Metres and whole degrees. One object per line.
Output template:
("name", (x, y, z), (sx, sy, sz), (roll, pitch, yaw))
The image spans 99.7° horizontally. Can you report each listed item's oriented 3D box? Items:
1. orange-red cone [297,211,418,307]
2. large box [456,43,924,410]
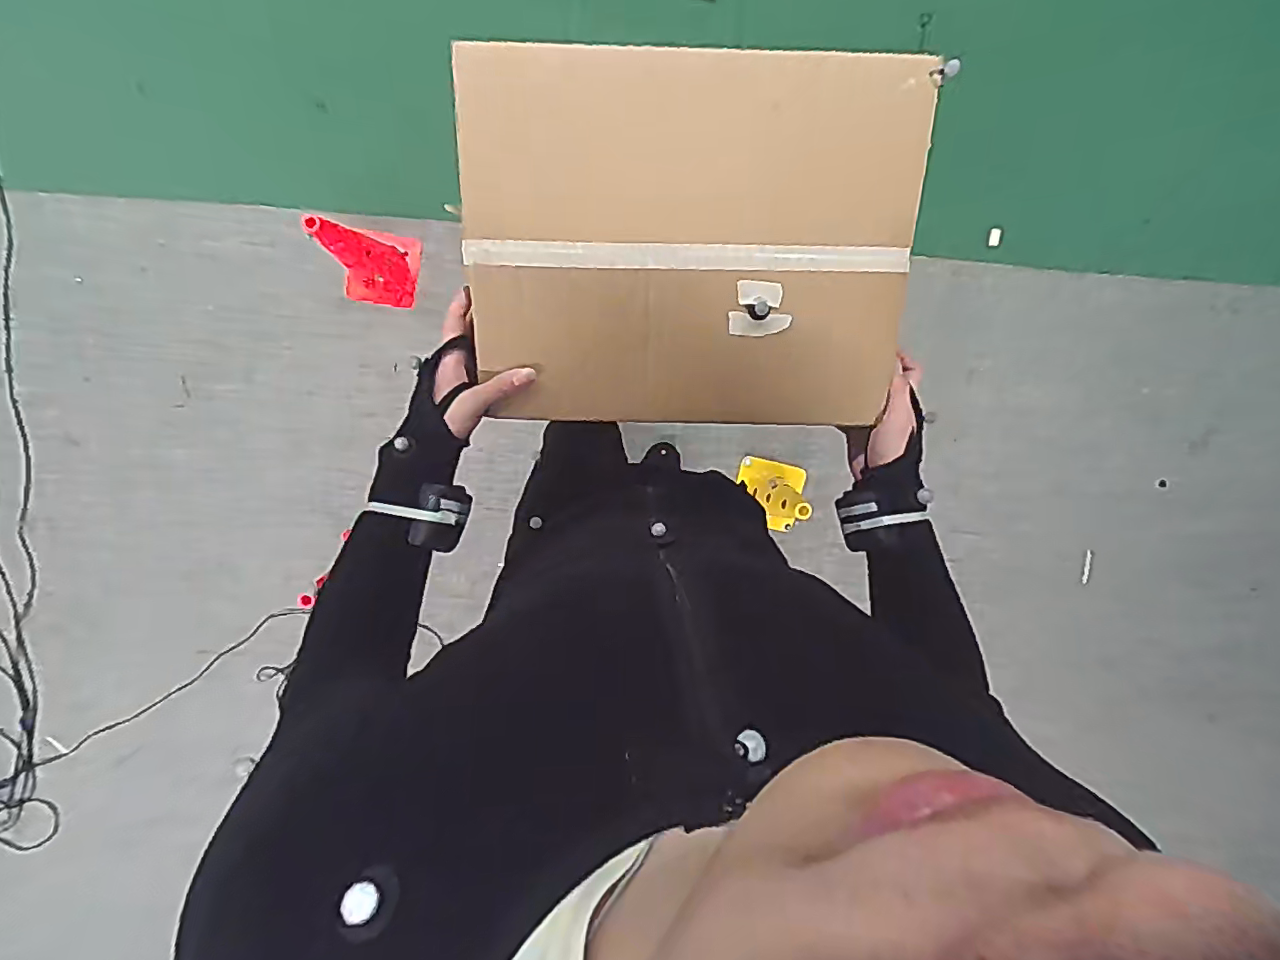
("orange-red cone", (-0.745, -0.591, 1.372), (0.199, 0.360, 0.198), (11, 95, 0))
("large box", (0.039, -0.266, 0.642), (0.408, 0.320, 0.320), (0, 110, -2))
